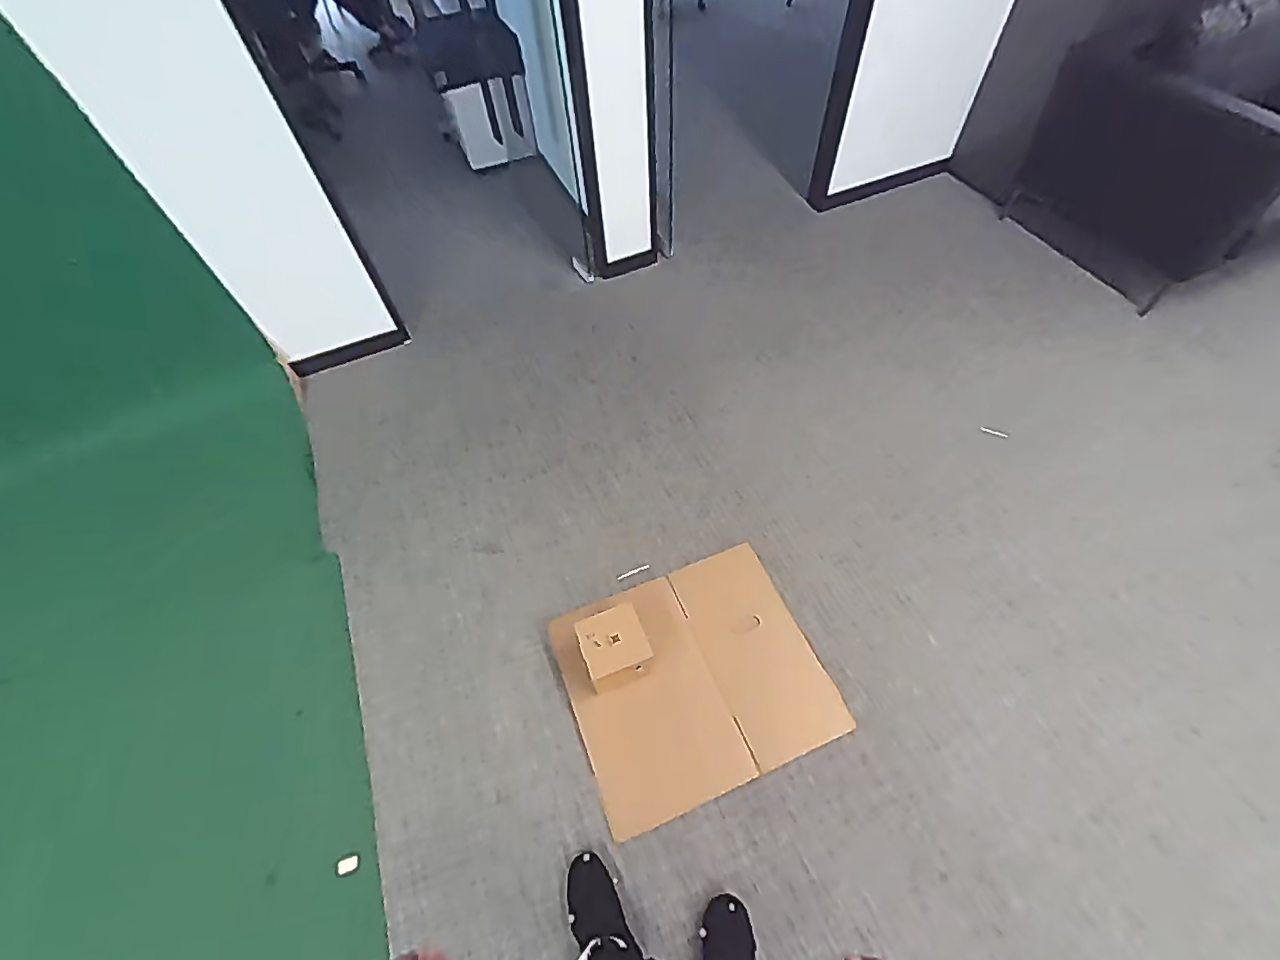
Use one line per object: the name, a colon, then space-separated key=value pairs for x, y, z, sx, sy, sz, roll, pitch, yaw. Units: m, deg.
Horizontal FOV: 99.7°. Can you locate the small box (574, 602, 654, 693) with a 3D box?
small box: x=-0.068 y=0.469 z=1.502 sx=0.179 sy=0.176 sz=0.168 roll=-19 pitch=57 yaw=-9
